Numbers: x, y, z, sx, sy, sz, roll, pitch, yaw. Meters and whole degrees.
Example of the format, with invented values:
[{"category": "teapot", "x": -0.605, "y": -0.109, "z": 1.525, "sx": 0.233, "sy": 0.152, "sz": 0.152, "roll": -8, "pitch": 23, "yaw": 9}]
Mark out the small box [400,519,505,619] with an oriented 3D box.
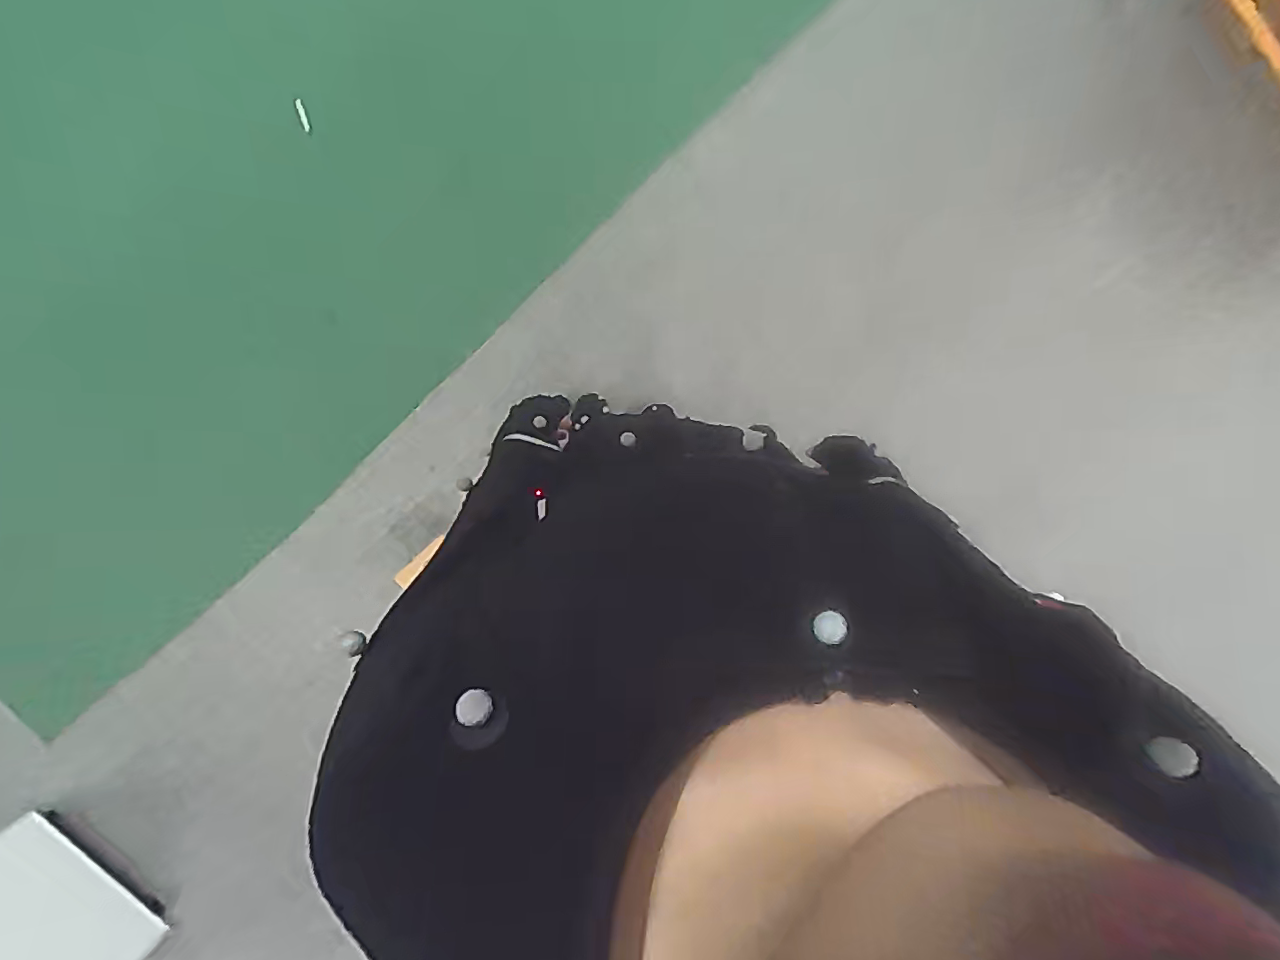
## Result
[{"category": "small box", "x": -0.484, "y": 0.229, "z": 1.429, "sx": 0.179, "sy": 0.176, "sz": 0.168, "roll": -42, "pitch": 96, "yaw": 4}]
